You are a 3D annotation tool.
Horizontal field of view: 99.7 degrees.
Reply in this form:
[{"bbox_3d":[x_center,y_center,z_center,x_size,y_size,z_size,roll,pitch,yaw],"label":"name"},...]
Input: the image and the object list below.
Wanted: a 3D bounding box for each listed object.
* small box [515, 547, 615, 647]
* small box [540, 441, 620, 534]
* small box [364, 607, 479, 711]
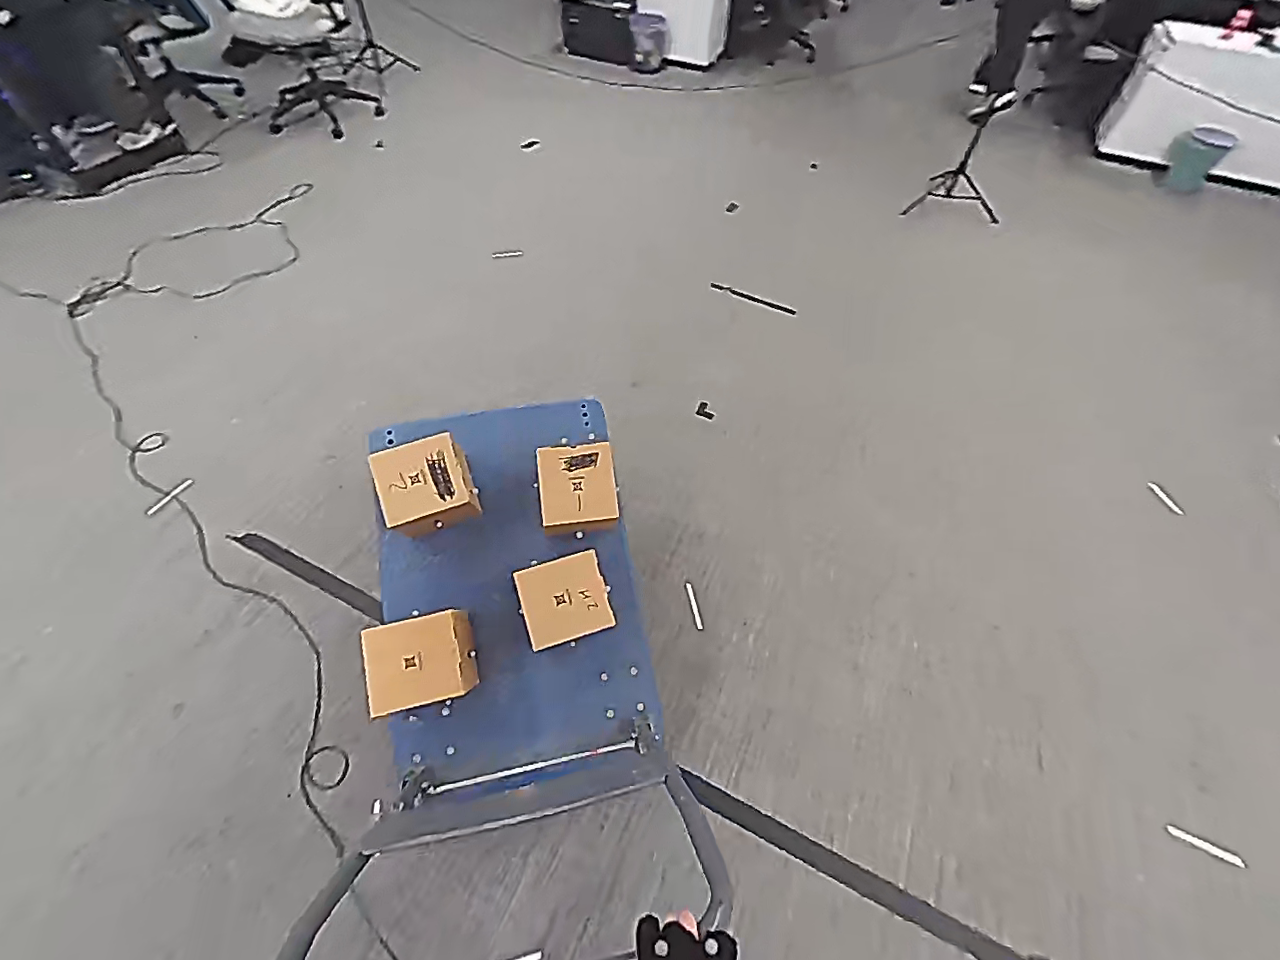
[{"bbox_3d":[-0.161,0.259,1.188,0.179,0.176,0.168,-15,78,-10],"label":"small box"},{"bbox_3d":[-0.141,0.022,1.252,0.168,0.176,0.179,-6,77,-7],"label":"small box"},{"bbox_3d":[-0.448,0.368,1.129,0.179,0.176,0.168,-11,77,-11],"label":"small box"}]
